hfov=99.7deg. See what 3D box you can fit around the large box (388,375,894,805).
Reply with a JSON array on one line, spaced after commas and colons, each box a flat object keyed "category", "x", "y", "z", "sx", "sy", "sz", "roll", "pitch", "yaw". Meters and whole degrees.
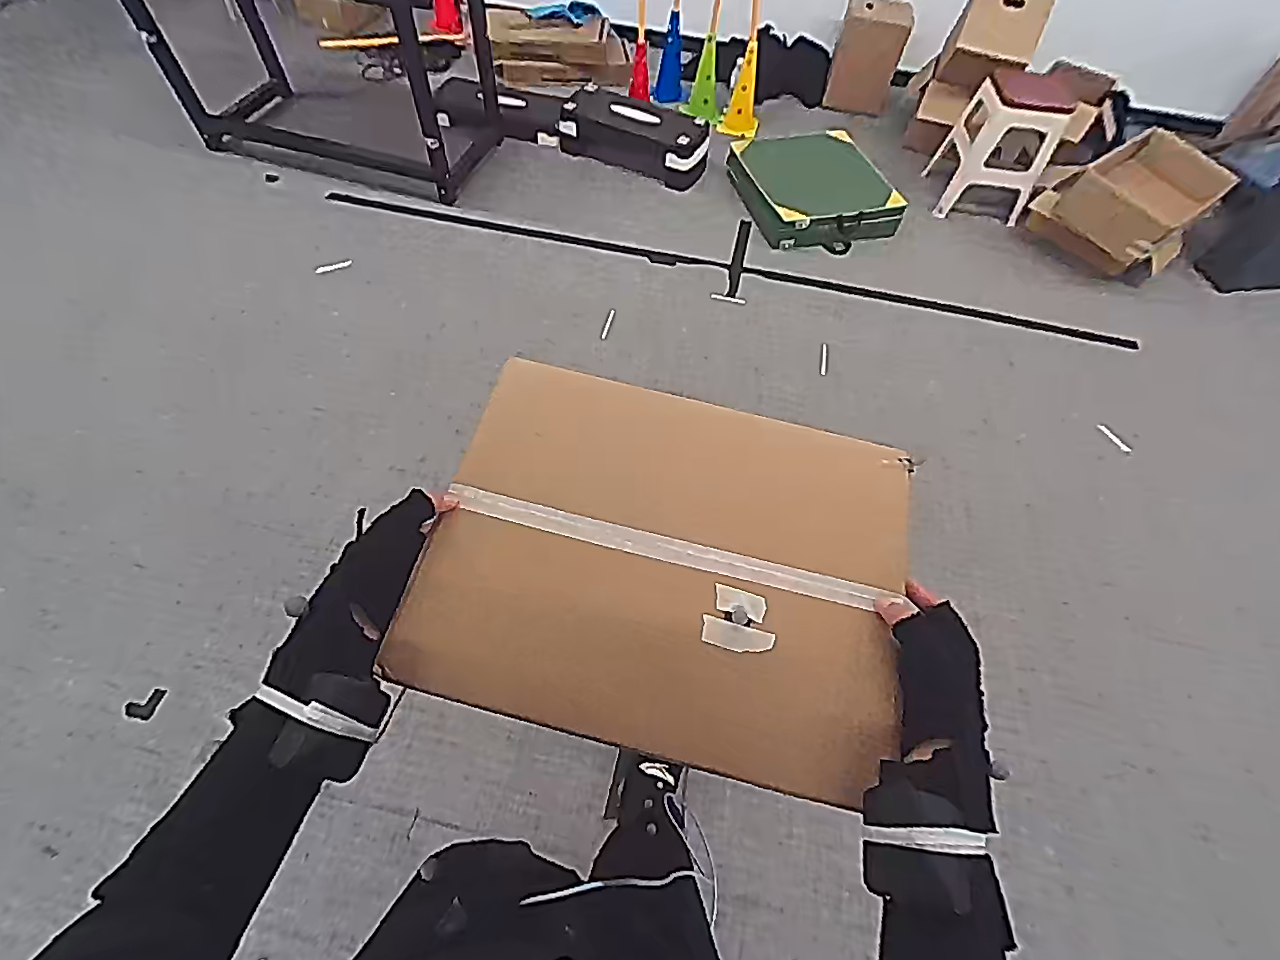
[{"category": "large box", "x": 0.014, "y": 0.132, "z": 0.613, "sx": 0.408, "sy": 0.320, "sz": 0.320, "roll": 14, "pitch": 66, "yaw": 2}]
